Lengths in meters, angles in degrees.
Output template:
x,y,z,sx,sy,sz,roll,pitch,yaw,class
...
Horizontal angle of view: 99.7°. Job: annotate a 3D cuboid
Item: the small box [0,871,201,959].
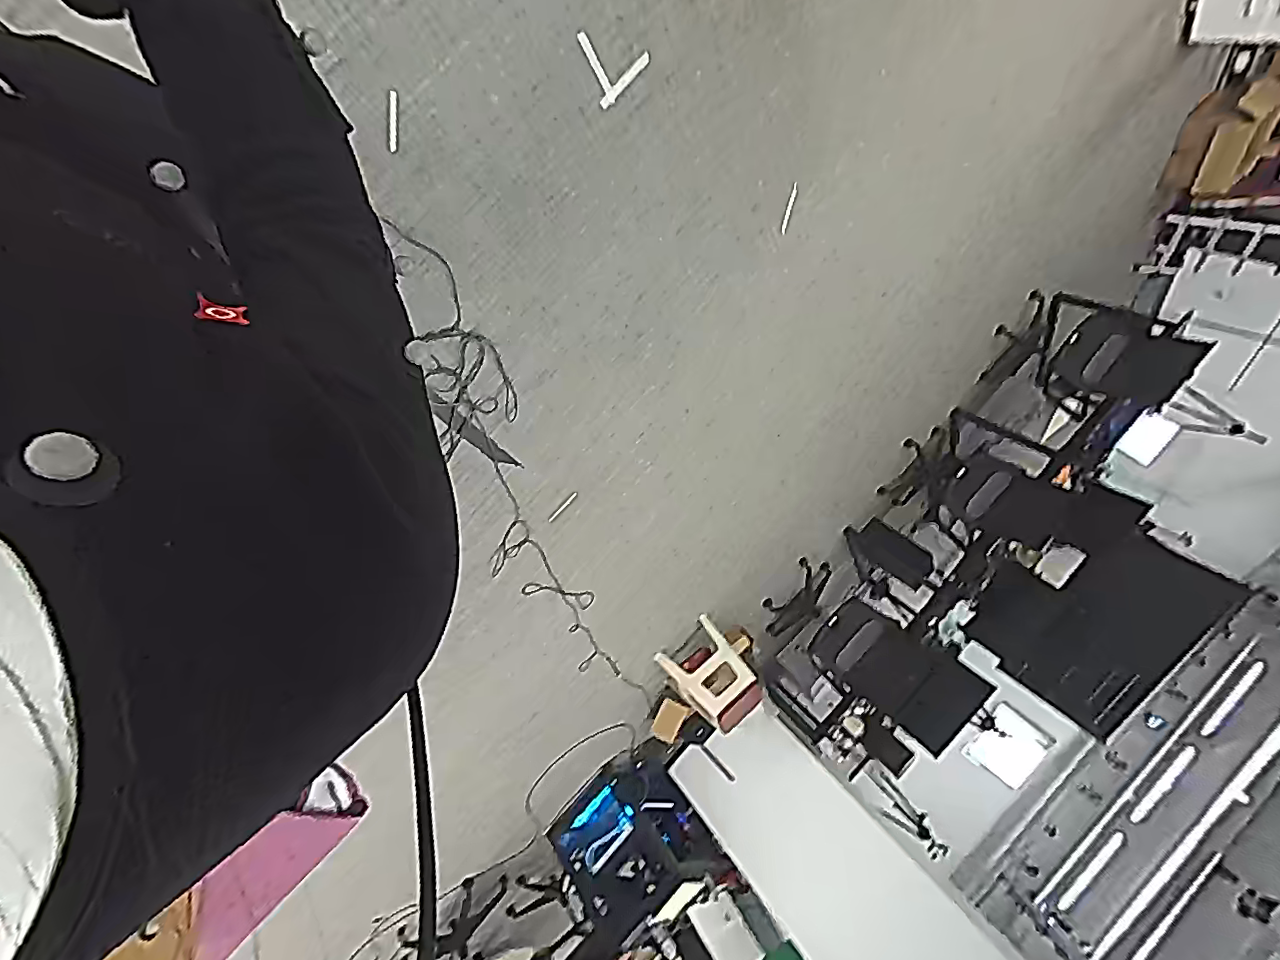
x,y,z,sx,sy,sz,roll,pitch,yaw,class
-0.722,0.649,0.703,0.179,0.176,0.168,-51,141,2,small box
